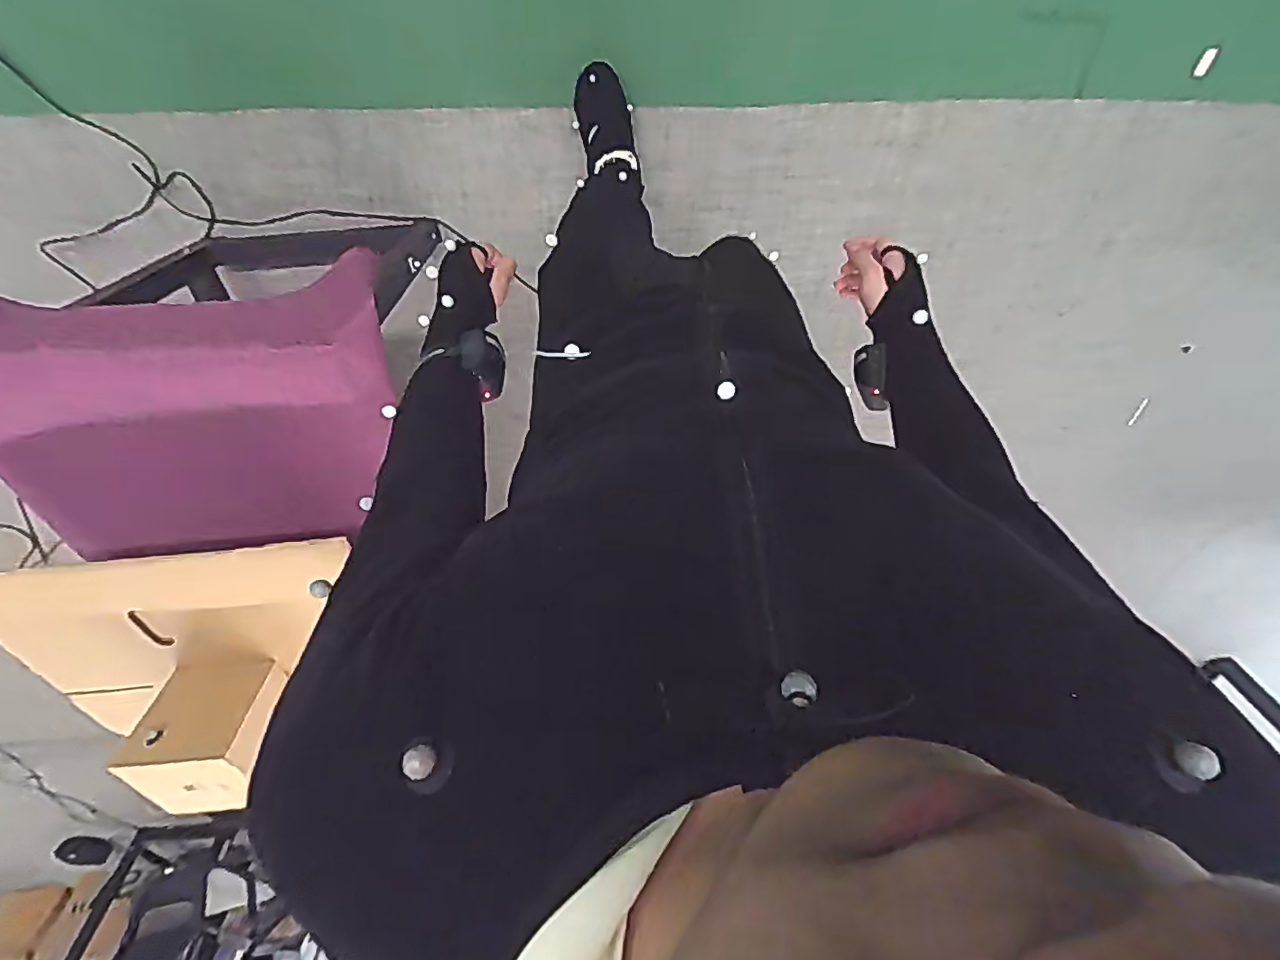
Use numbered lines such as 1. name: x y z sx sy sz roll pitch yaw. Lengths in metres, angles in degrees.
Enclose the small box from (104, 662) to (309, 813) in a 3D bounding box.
1. small box: -0.701 0.425 0.902 0.179 0.176 0.168 -4 128 -2
